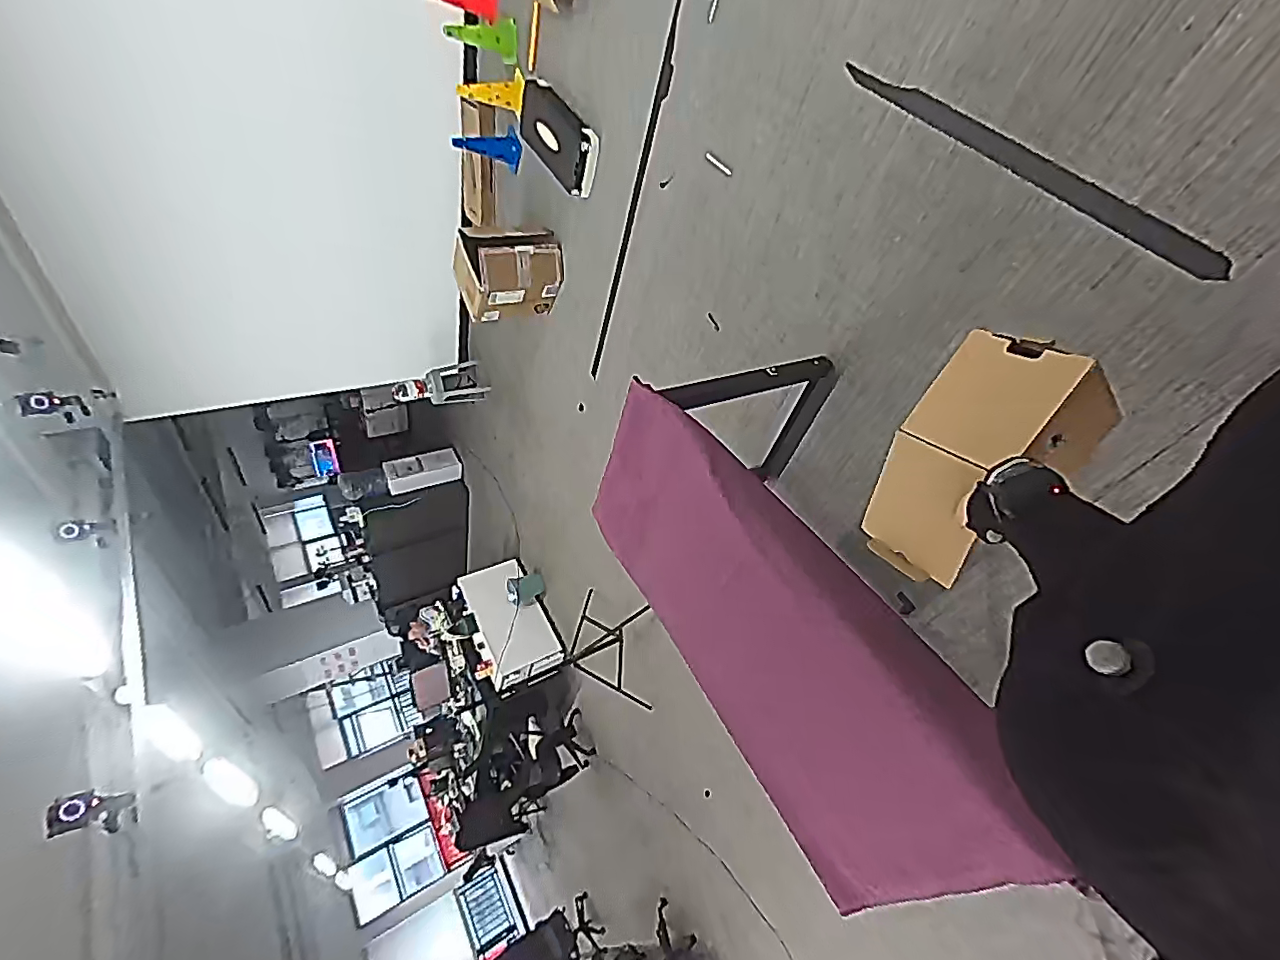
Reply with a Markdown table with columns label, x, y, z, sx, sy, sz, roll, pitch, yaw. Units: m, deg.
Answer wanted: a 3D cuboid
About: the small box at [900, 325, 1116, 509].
| label | x | y | z | sx | sy | sz | roll | pitch | yaw |
| --- | --- | --- | --- | --- | --- | --- | --- | --- | --- |
| small box | 0.515 | -0.083 | 0.757 | 0.179 | 0.176 | 0.168 | -57 | 39 | 10 |
